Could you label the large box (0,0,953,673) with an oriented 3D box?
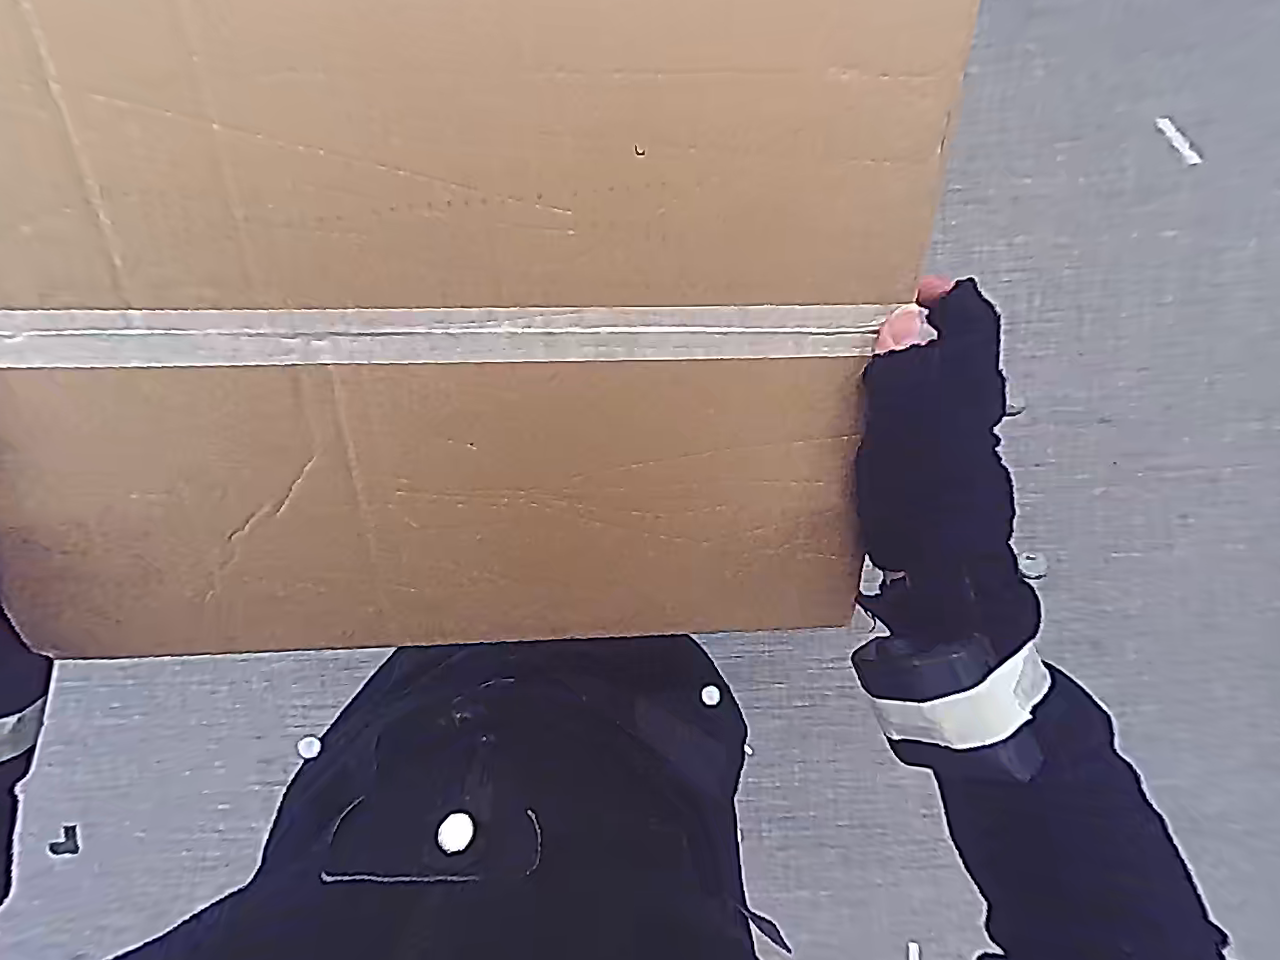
[{"bbox_3d":[-0.098,-0.109,0.361,0.408,0.320,0.320,-2,114,-4],"label":"large box"}]
